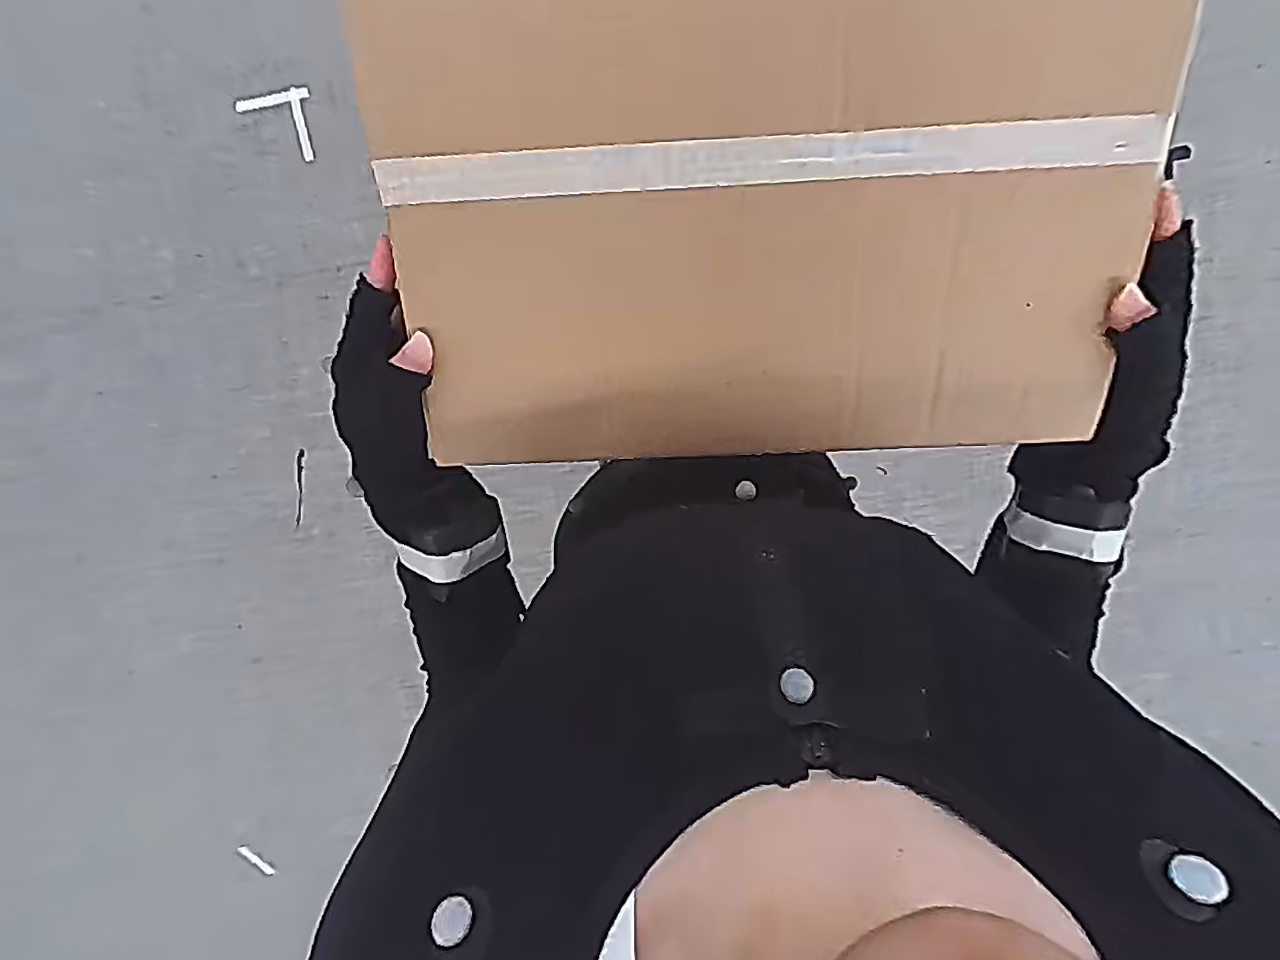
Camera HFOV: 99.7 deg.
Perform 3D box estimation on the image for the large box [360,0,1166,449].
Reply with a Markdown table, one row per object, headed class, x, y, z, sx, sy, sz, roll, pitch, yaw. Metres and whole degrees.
| class | x | y | z | sx | sy | sz | roll | pitch | yaw |
| --- | --- | --- | --- | --- | --- | --- | --- | --- | --- |
| large box | 0.062 | -0.224 | 0.432 | 0.408 | 0.320 | 0.320 | -2 | 111 | 1 |
